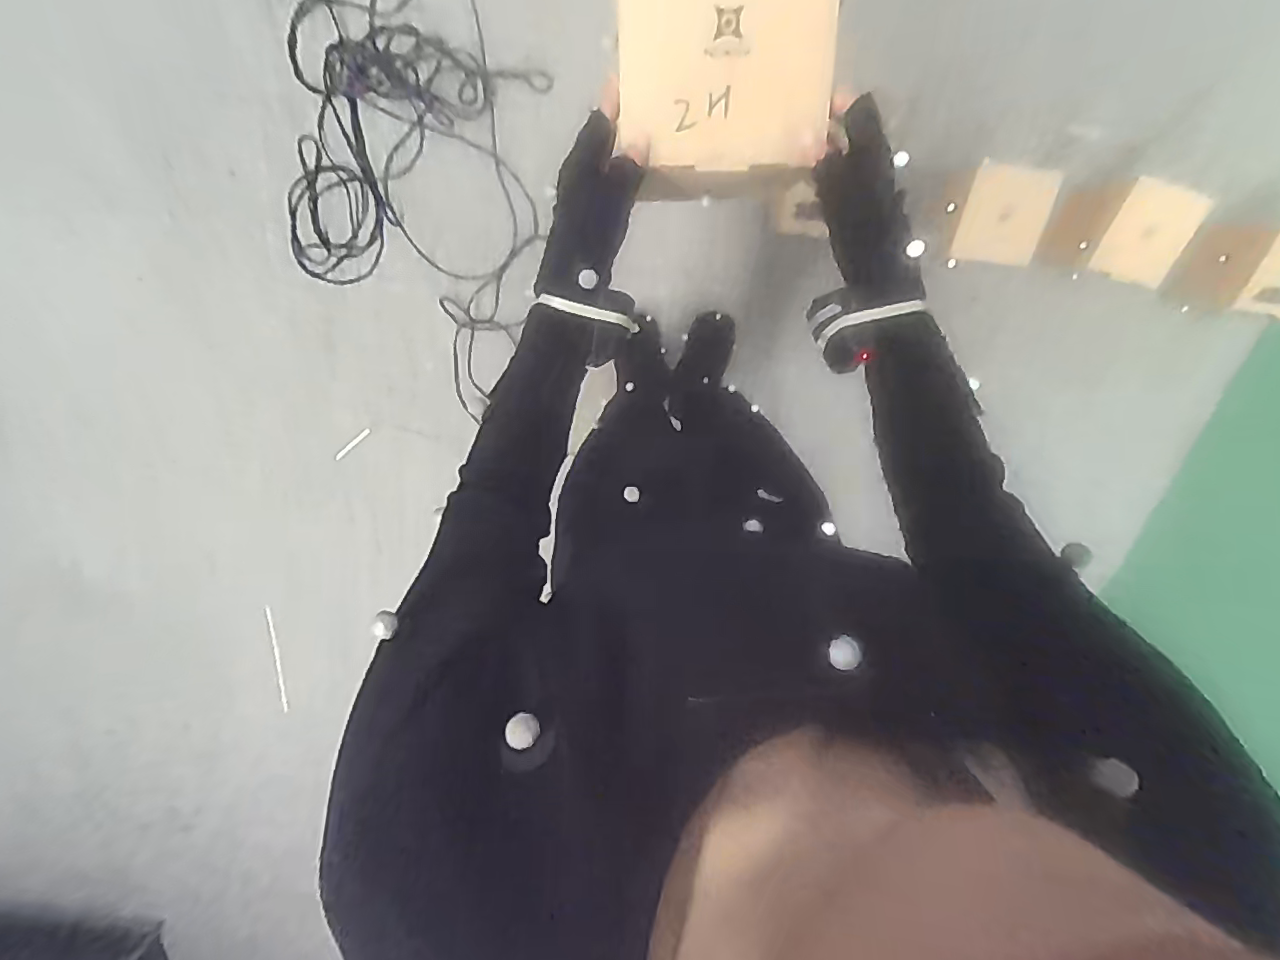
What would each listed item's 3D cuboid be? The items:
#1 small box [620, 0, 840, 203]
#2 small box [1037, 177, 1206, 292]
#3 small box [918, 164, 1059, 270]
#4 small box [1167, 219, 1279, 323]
[{"bbox_3d":[0.066,-0.358,0.481,0.168,0.176,0.179,0,110,1],"label":"small box"},{"bbox_3d":[1.002,-0.517,1.148,0.168,0.176,0.179,15,114,-4],"label":"small box"},{"bbox_3d":[0.719,-0.552,1.142,0.168,0.176,0.179,7,115,1],"label":"small box"},{"bbox_3d":[1.313,-0.449,1.166,0.168,0.176,0.179,11,113,-3],"label":"small box"}]
